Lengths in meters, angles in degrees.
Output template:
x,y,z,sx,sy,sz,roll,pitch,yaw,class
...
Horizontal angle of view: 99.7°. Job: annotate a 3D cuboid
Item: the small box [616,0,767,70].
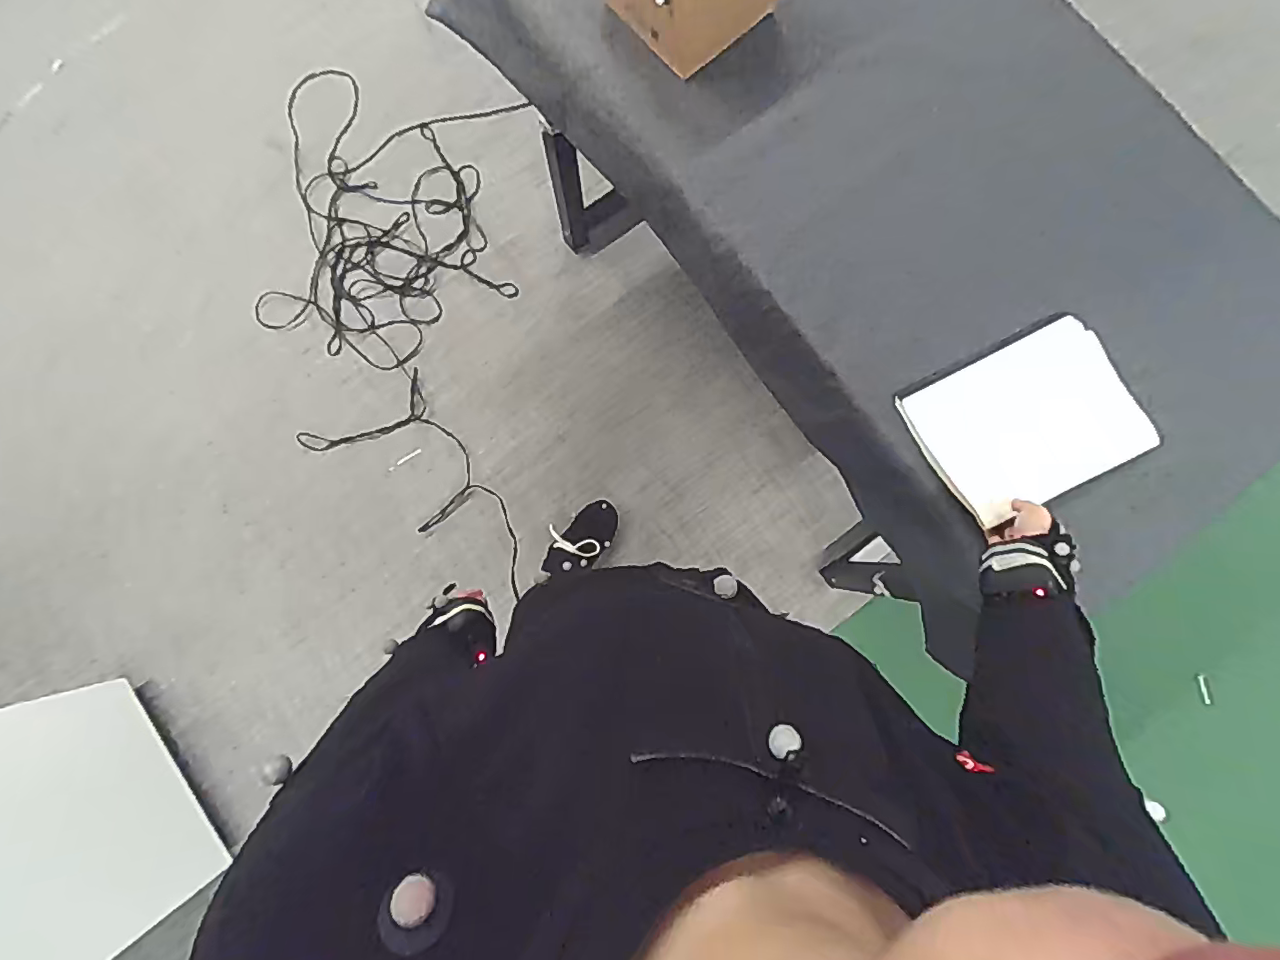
x,y,z,sx,sy,sz,roll,pitch,yaw,class
0.069,-0.670,0.668,0.179,0.176,0.168,-42,87,-7,small box
